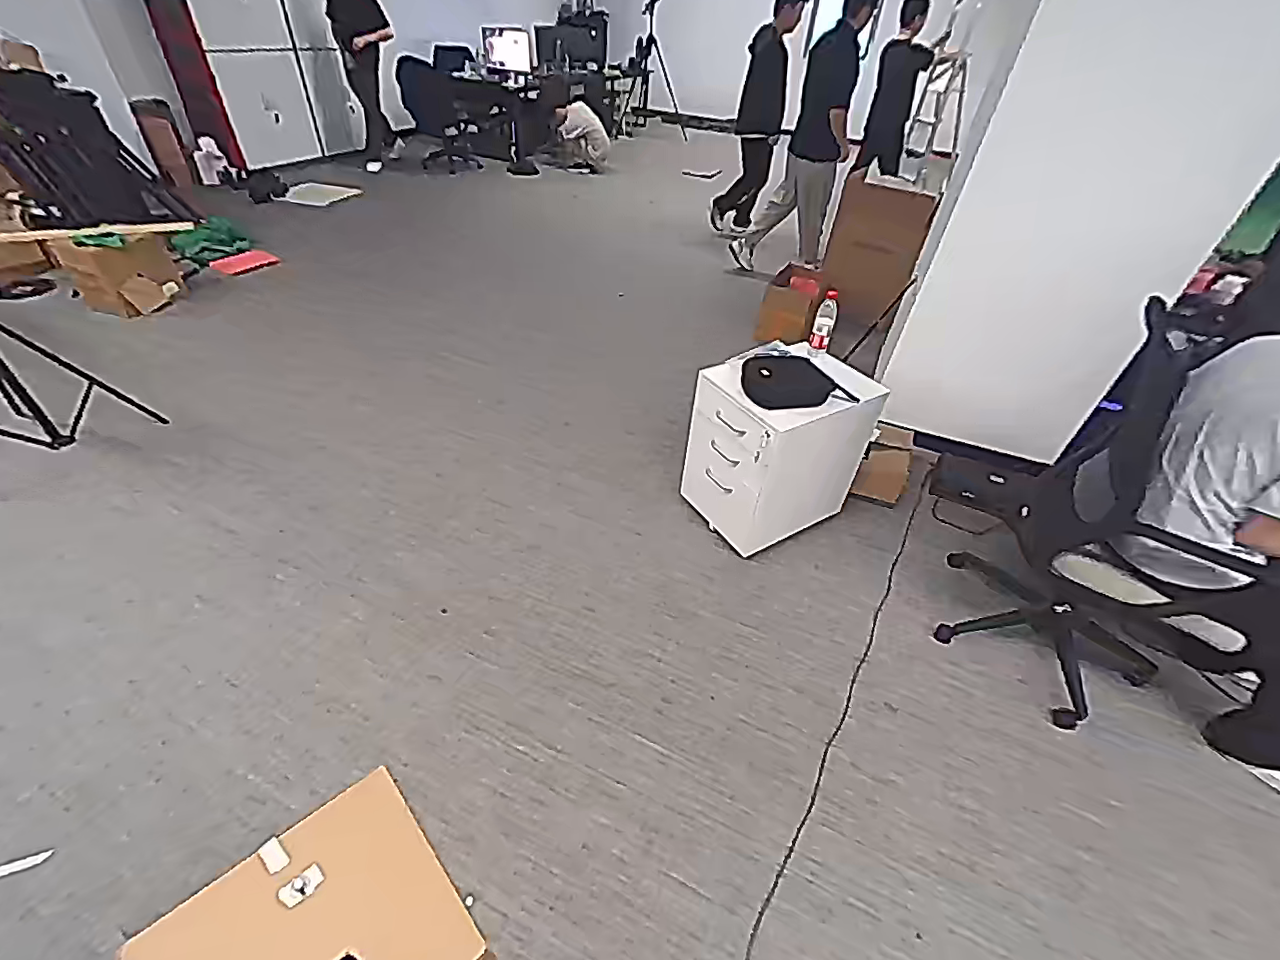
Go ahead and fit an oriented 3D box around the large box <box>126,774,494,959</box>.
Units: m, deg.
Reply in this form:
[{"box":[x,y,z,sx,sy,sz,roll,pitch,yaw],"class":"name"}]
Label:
[{"box":[-0.374,0.699,0.716,0.320,0.408,0.320,-28,37,-33],"class":"large box"}]
